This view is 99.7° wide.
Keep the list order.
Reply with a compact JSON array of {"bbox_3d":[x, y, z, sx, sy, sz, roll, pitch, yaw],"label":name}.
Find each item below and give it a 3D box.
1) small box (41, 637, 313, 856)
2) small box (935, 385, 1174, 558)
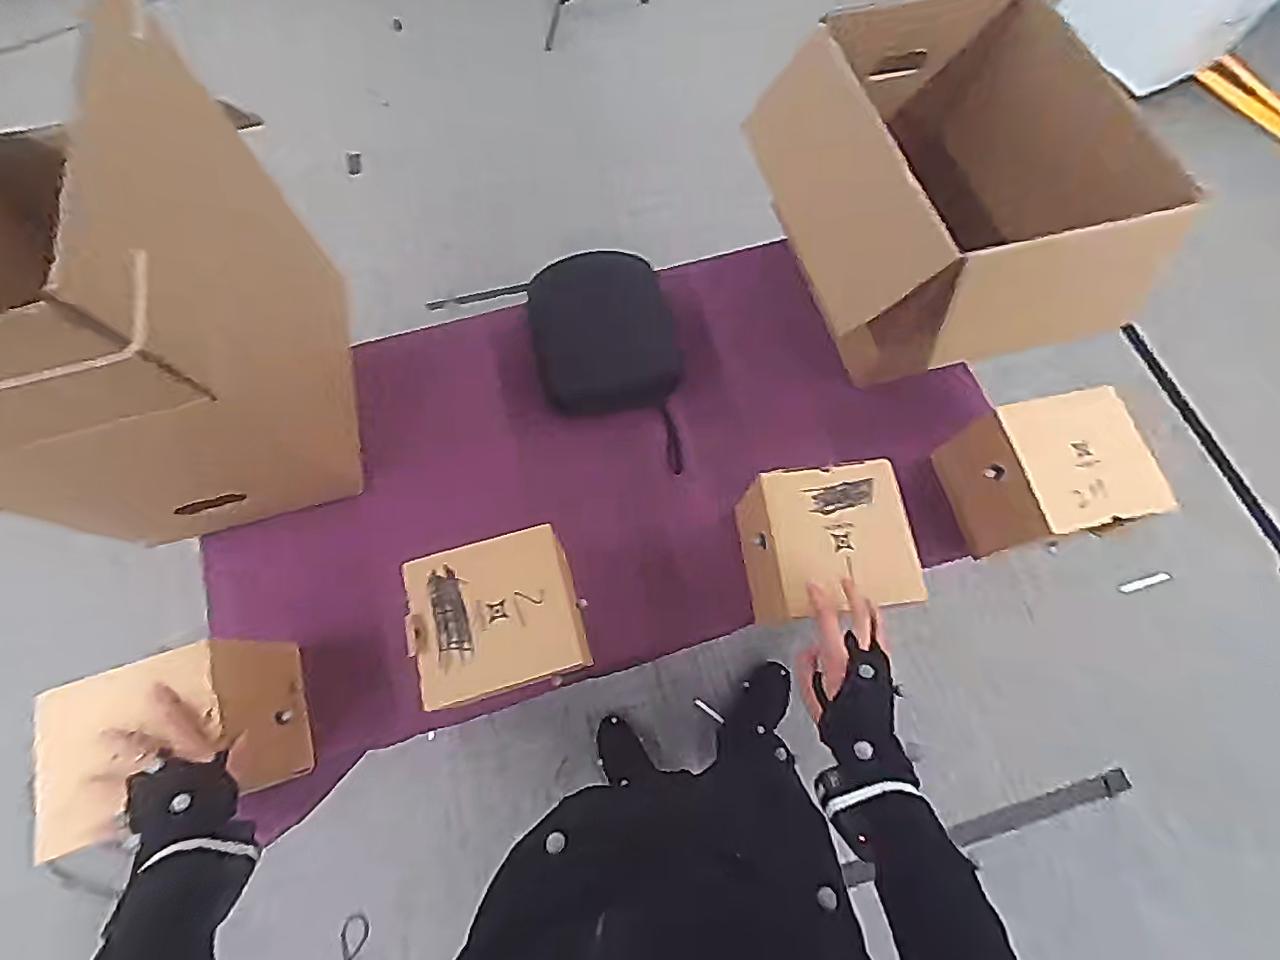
[{"bbox_3d":[-0.525,0.297,0.634,0.179,0.176,0.168,-18,72,-8],"label":"small box"},{"bbox_3d":[0.547,-0.004,0.748,0.168,0.176,0.179,-11,71,-3],"label":"small box"}]
